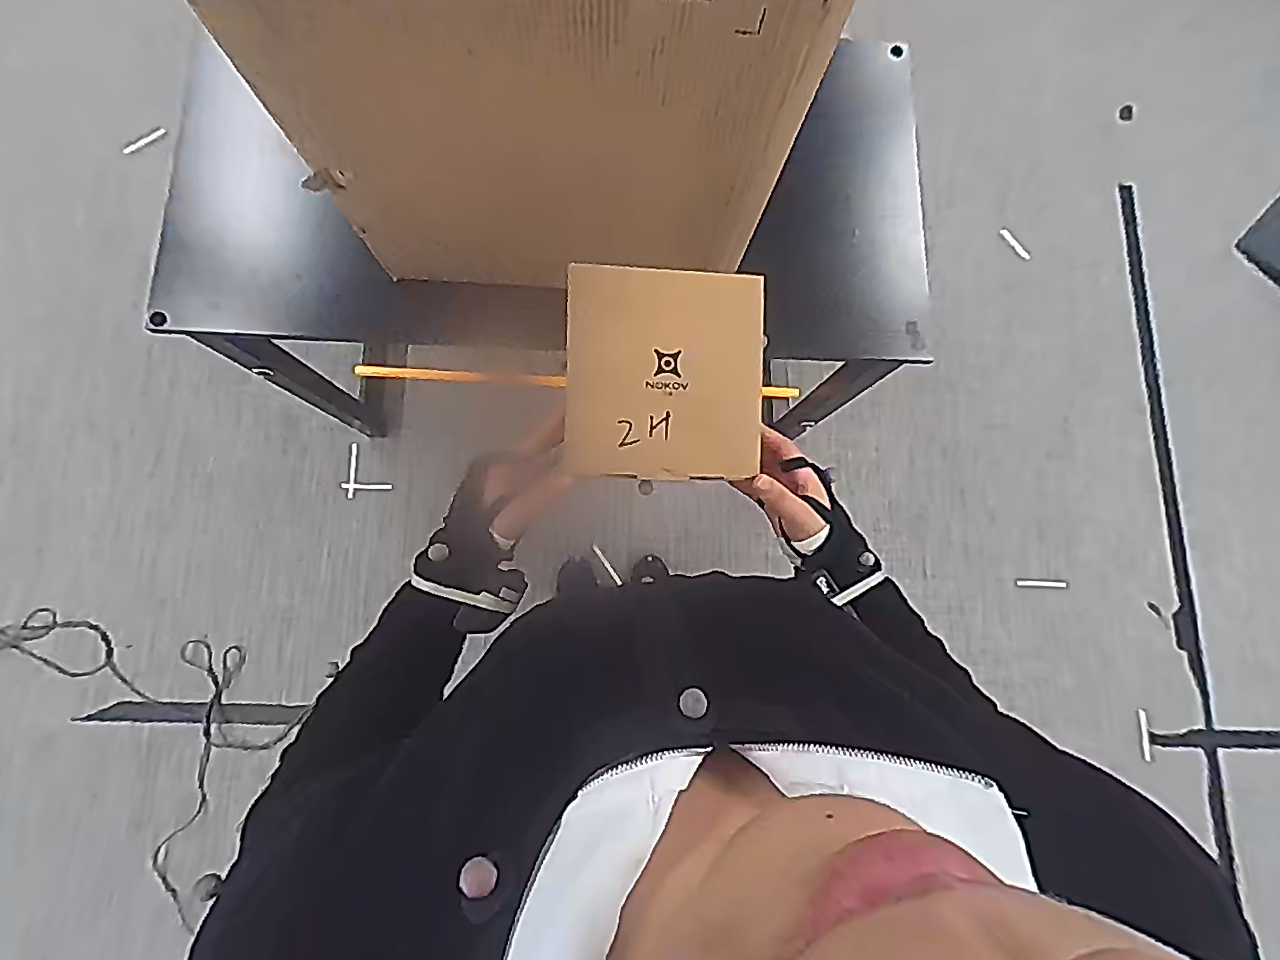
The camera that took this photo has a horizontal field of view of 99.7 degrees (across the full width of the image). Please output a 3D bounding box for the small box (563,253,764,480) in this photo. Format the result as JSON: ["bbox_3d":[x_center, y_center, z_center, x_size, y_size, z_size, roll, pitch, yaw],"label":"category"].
[{"bbox_3d":[0.012,-0.092,0.524,0.168,0.176,0.179,2,89,-6],"label":"small box"}]
